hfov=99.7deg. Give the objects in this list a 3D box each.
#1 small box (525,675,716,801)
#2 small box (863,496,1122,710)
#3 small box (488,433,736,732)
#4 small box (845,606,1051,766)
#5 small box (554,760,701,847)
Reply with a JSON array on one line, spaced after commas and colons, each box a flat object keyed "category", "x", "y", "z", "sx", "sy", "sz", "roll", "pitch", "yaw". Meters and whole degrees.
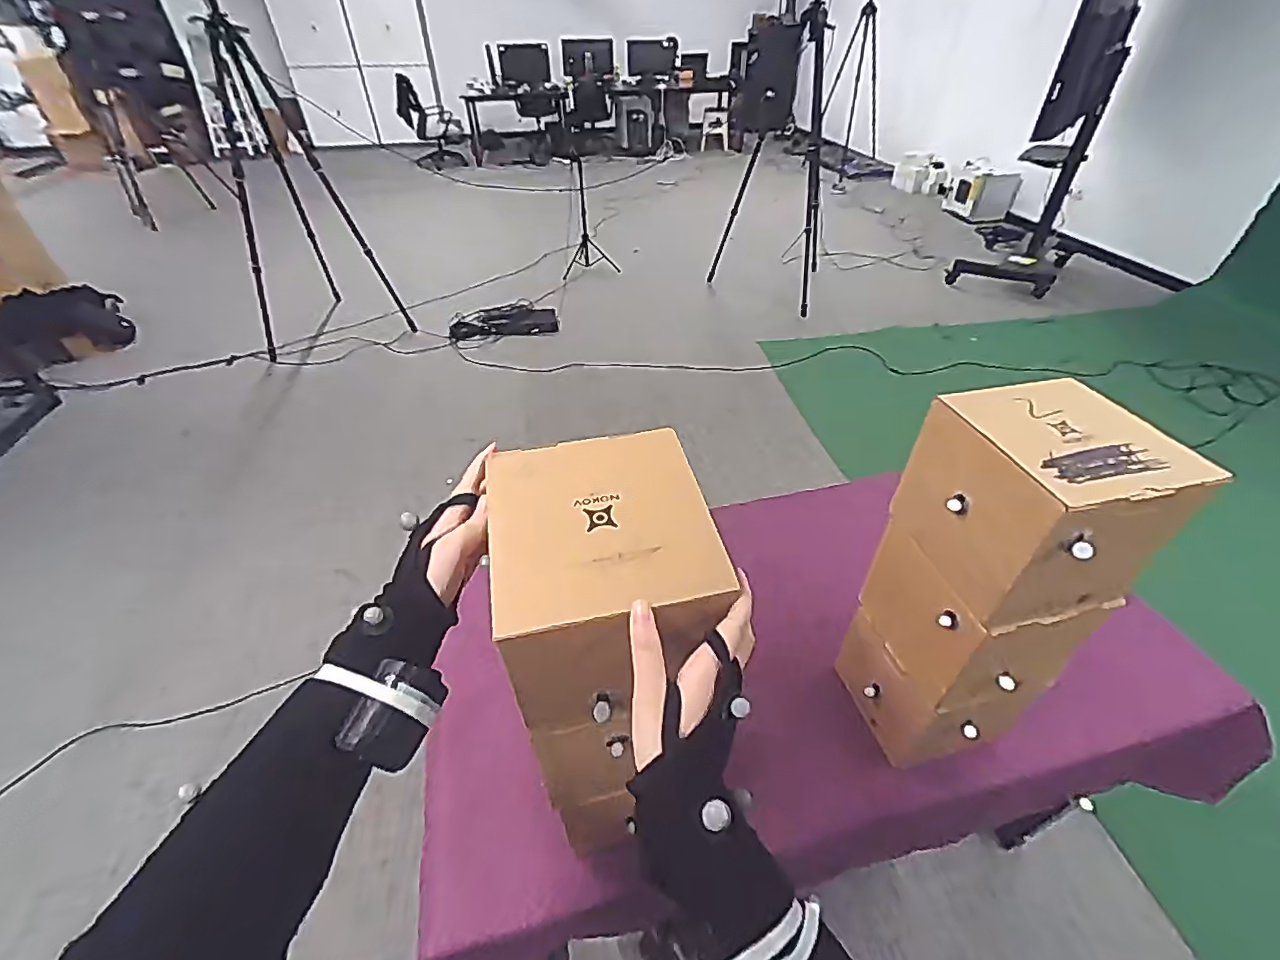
[{"category": "small box", "x": -0.029, "y": 0.218, "z": 0.587, "sx": 0.179, "sy": 0.176, "sz": 0.168, "roll": -9, "pitch": 42, "yaw": -10}, {"category": "small box", "x": 0.403, "y": 0.147, "z": 0.661, "sx": 0.168, "sy": 0.176, "sz": 0.179, "roll": -9, "pitch": 42, "yaw": -9}, {"category": "small box", "x": -0.034, "y": 0.085, "z": 0.465, "sx": 0.168, "sy": 0.176, "sz": 0.179, "roll": -9, "pitch": 46, "yaw": -10}, {"category": "small box", "x": 0.411, "y": 0.274, "z": 0.763, "sx": 0.179, "sy": 0.176, "sz": 0.168, "roll": -11, "pitch": 42, "yaw": -10}, {"category": "small box", "x": -0.027, "y": 0.342, "z": 0.695, "sx": 0.168, "sy": 0.176, "sz": 0.179, "roll": -9, "pitch": 41, "yaw": -10}]
